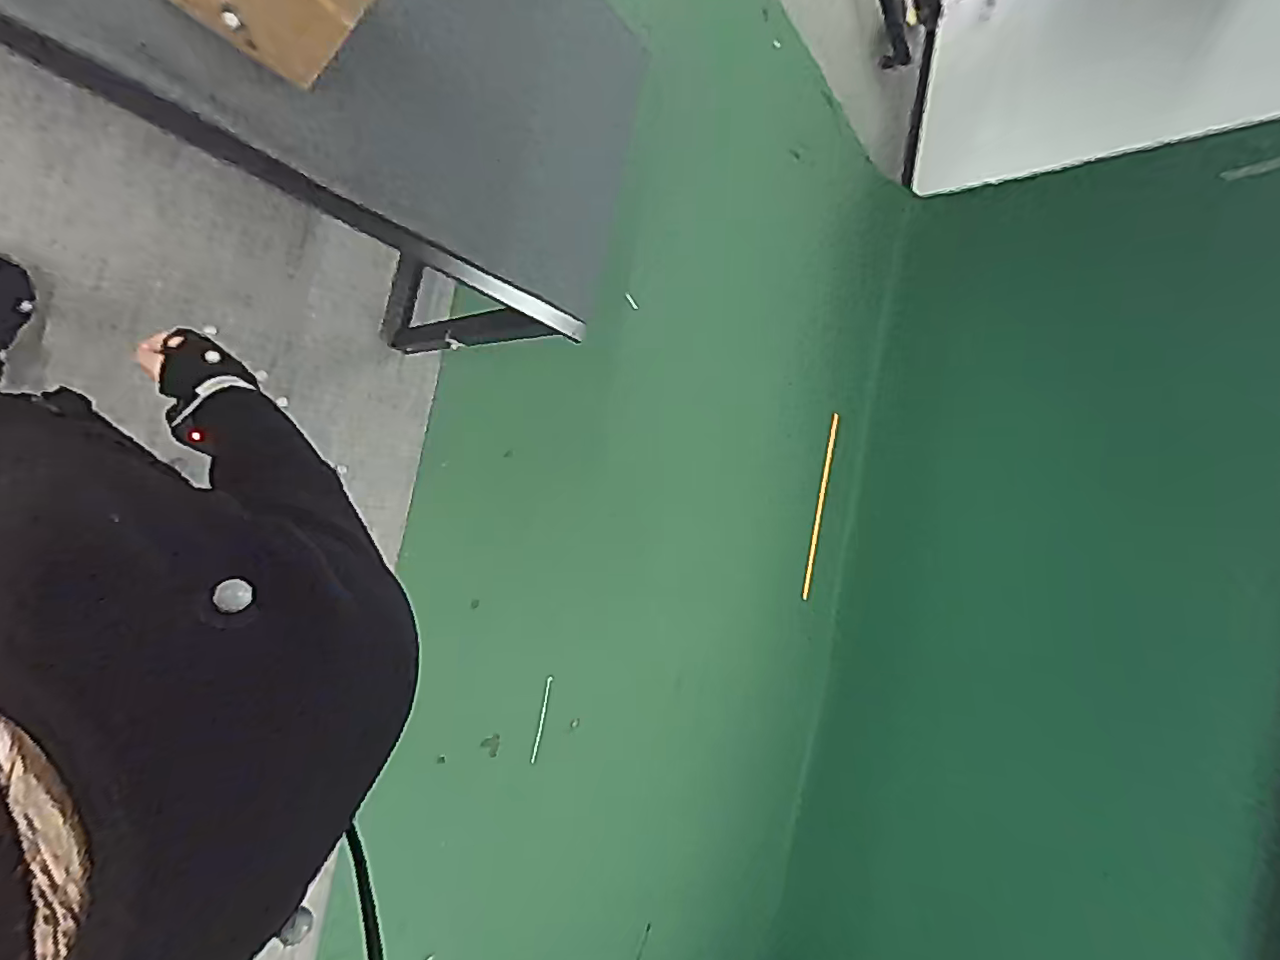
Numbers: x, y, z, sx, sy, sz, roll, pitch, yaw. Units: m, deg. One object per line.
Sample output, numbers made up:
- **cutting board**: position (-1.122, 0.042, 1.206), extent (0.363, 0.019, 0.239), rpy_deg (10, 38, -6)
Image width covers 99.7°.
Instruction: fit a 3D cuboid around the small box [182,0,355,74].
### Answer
- **small box**: position (-0.384, -0.573, 0.546), extent (0.168, 0.176, 0.179), rpy_deg (19, 82, -47)
